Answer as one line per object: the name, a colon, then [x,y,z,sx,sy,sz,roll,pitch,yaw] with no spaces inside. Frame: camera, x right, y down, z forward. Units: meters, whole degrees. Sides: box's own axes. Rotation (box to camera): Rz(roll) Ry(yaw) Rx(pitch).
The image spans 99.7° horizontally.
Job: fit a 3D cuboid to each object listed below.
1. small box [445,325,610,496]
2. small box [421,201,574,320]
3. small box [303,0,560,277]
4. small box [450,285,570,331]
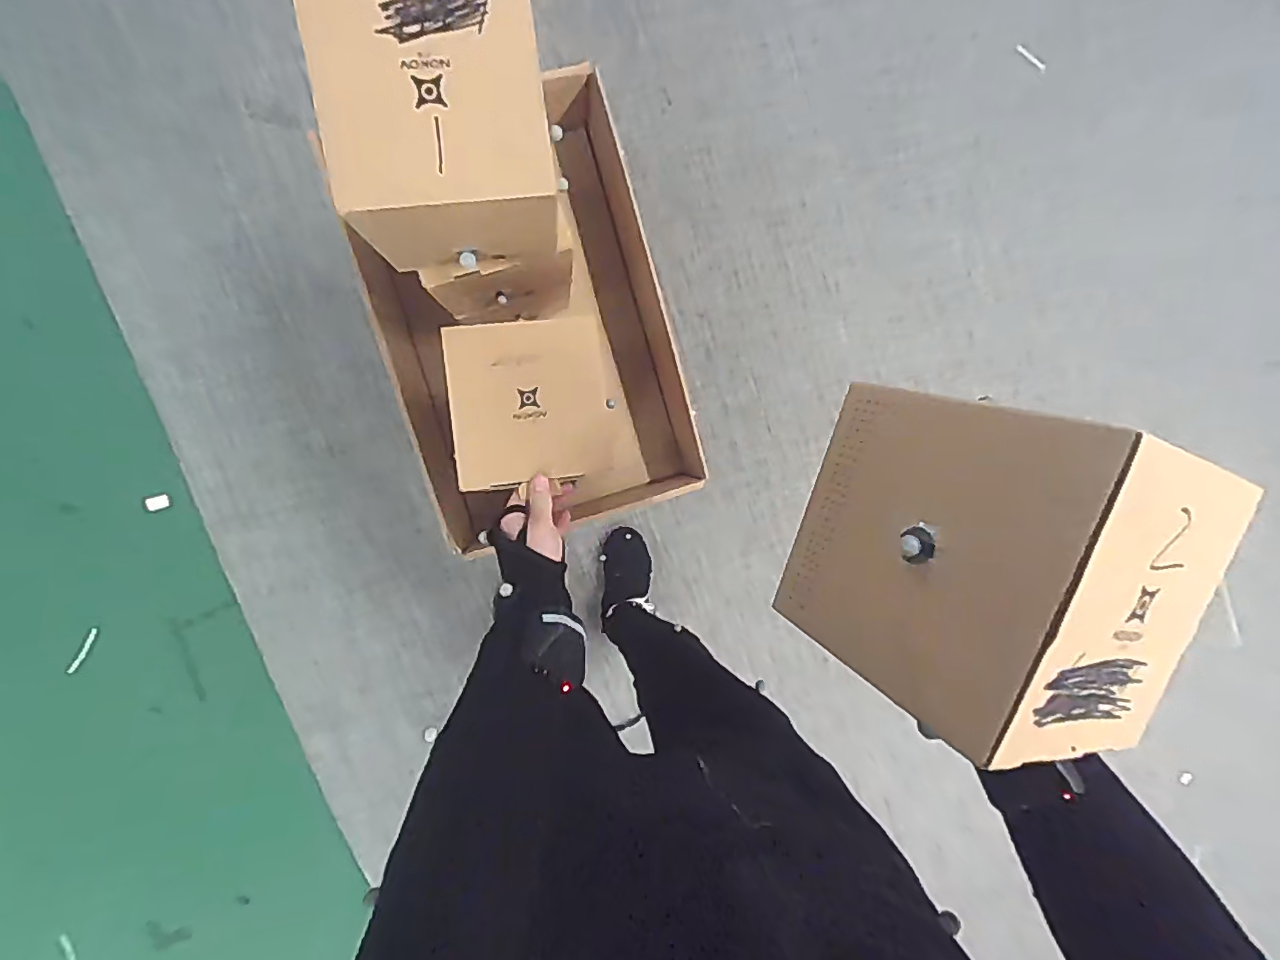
small box: [-0.129,-0.076,0.659,0.168,0.176,0.179,-6,89,-8]
small box: [-0.185,-0.310,0.644,0.168,0.176,0.179,-18,99,-7]
small box: [-0.166,-0.297,0.481,0.168,0.176,0.179,-8,98,-8]
small box: [-0.209,-0.327,0.803,0.168,0.176,0.179,-17,98,-6]
